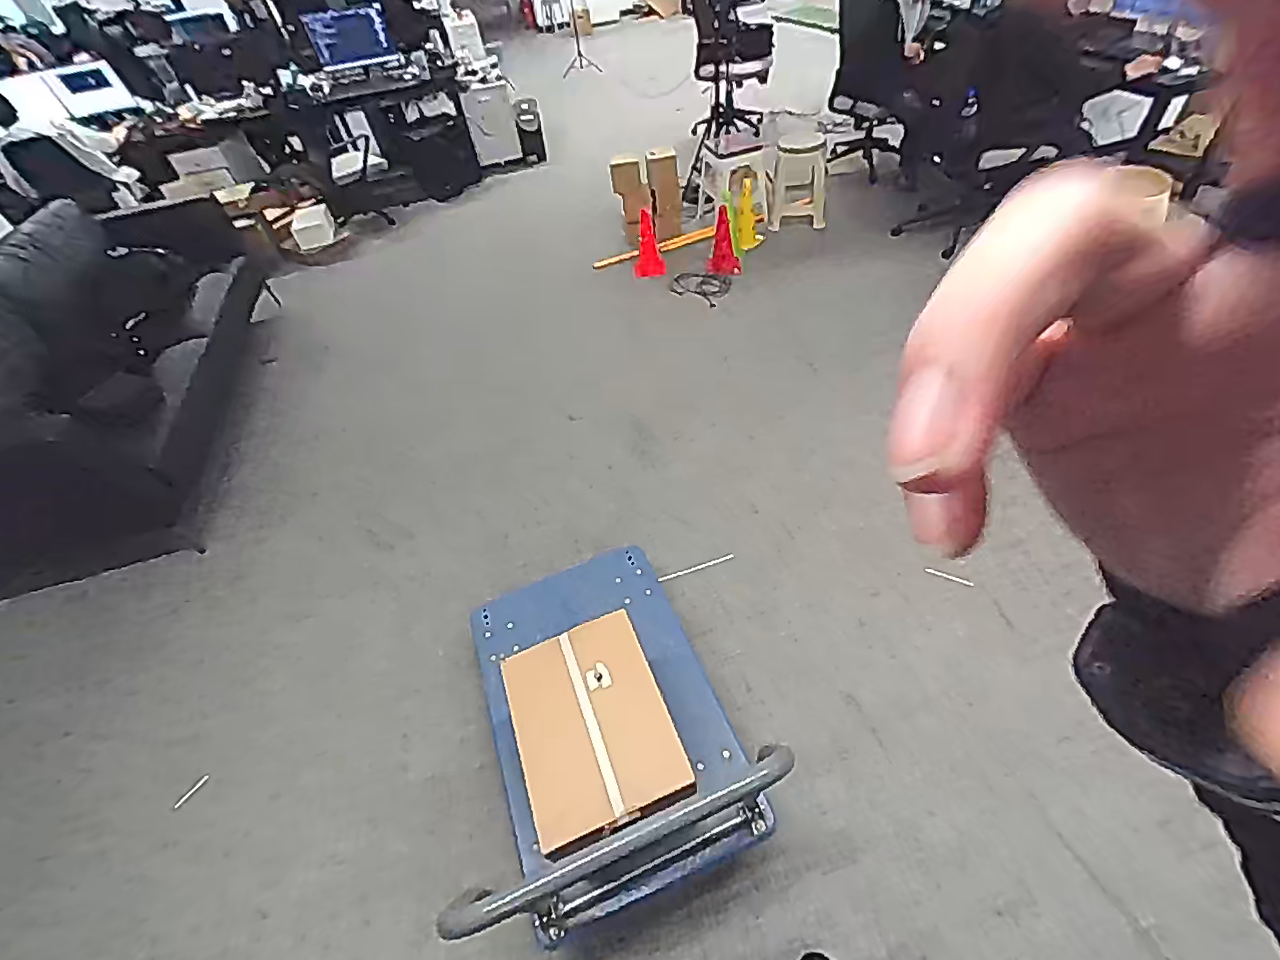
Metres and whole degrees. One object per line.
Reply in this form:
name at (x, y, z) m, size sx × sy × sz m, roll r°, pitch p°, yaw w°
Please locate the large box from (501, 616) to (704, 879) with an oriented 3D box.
large box at (-0.084, 0.604, 1.241) m, size 0.320 × 0.320 × 0.408 m, roll -21°, pitch 47°, yaw -10°
